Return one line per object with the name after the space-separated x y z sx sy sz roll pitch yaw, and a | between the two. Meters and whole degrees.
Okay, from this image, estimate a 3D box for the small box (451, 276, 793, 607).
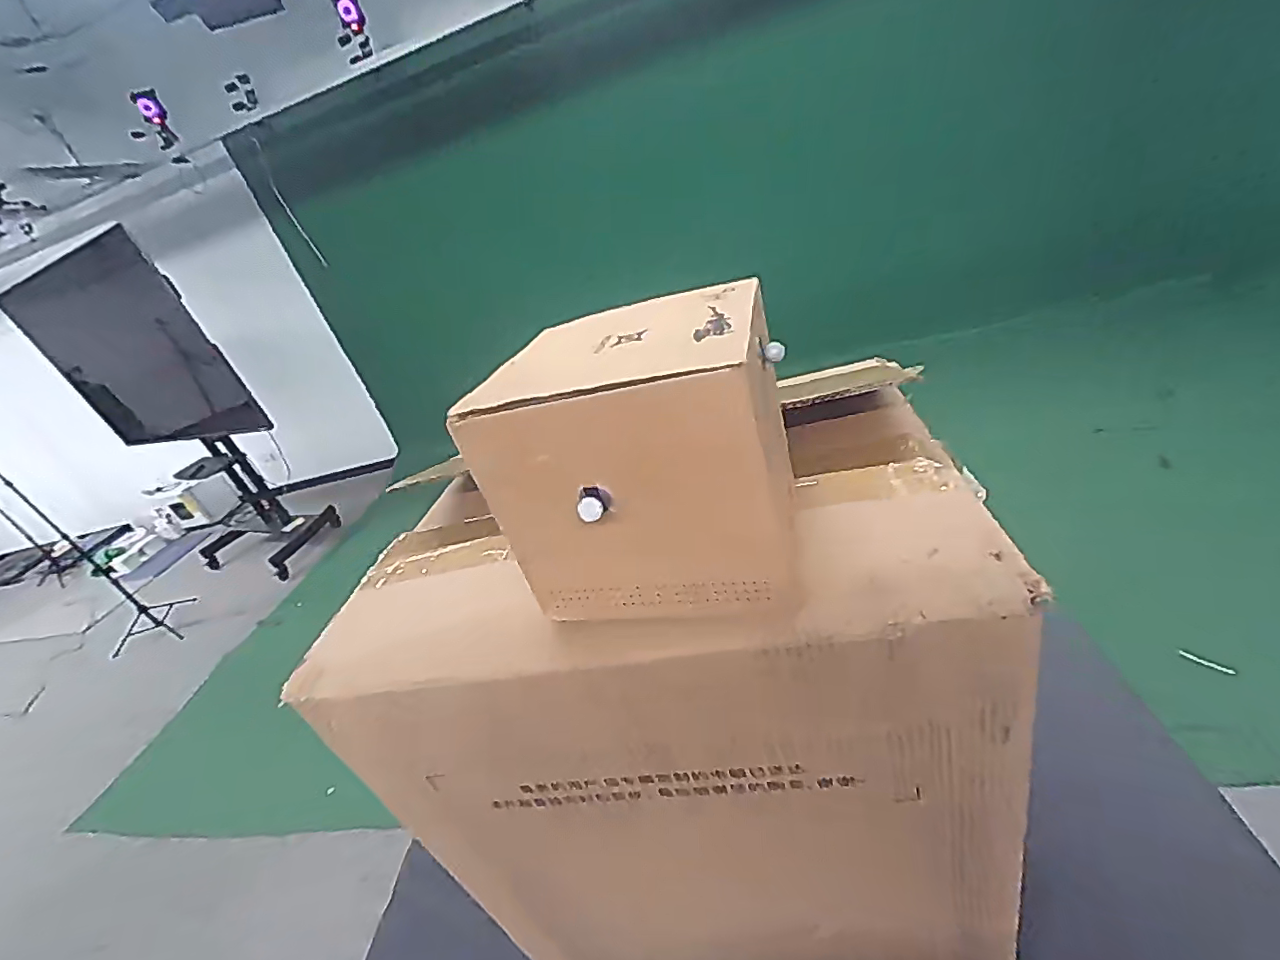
0.008 -0.024 0.390 0.179 0.176 0.168 -7 32 19 | small box
